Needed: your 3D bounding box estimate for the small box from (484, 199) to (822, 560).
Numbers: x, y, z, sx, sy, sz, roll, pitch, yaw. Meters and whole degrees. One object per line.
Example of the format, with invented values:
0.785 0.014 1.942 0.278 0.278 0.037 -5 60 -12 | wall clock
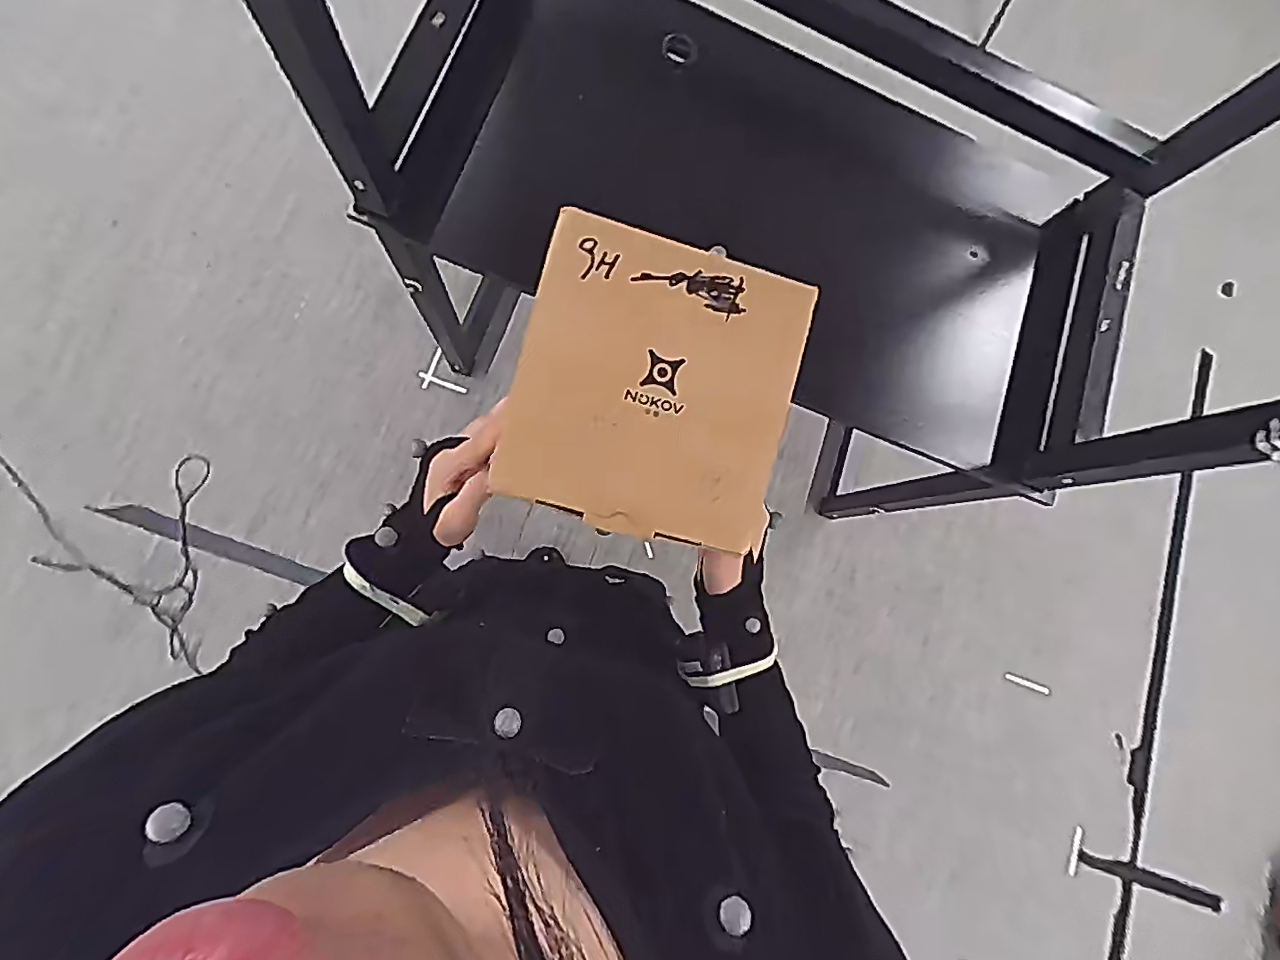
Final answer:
0.001 -0.059 0.396 0.168 0.176 0.179 15 91 -8 | small box
